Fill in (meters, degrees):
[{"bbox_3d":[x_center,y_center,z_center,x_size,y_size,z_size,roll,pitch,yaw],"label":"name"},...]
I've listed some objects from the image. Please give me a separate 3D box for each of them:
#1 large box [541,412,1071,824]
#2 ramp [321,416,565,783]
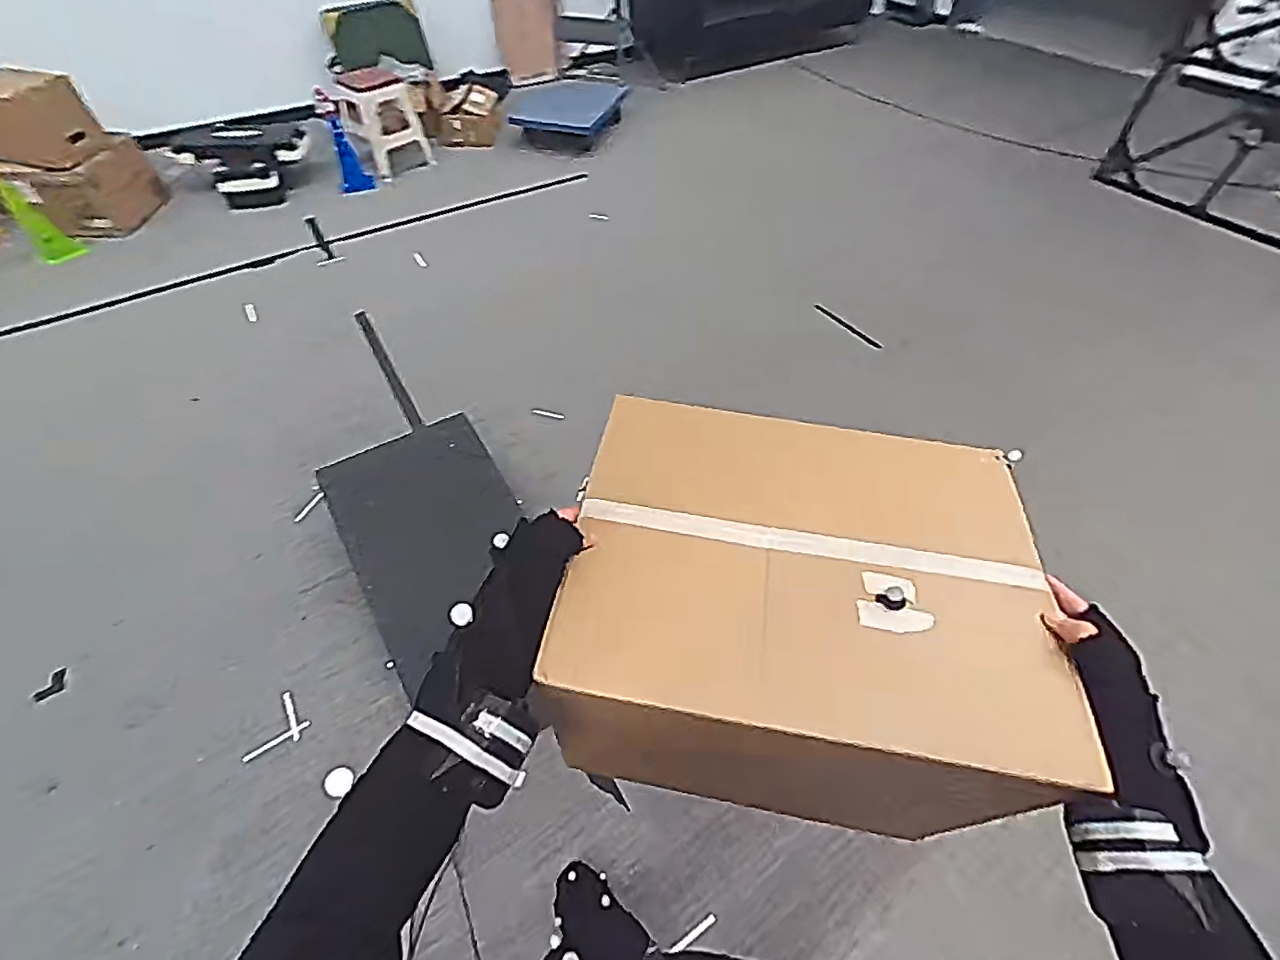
[{"bbox_3d":[0.132,0.159,0.609,0.408,0.320,0.320,8,52,4],"label":"large box"},{"bbox_3d":[-0.516,0.260,1.574,0.509,0.206,0.991,-28,57,-22],"label":"ramp"}]
